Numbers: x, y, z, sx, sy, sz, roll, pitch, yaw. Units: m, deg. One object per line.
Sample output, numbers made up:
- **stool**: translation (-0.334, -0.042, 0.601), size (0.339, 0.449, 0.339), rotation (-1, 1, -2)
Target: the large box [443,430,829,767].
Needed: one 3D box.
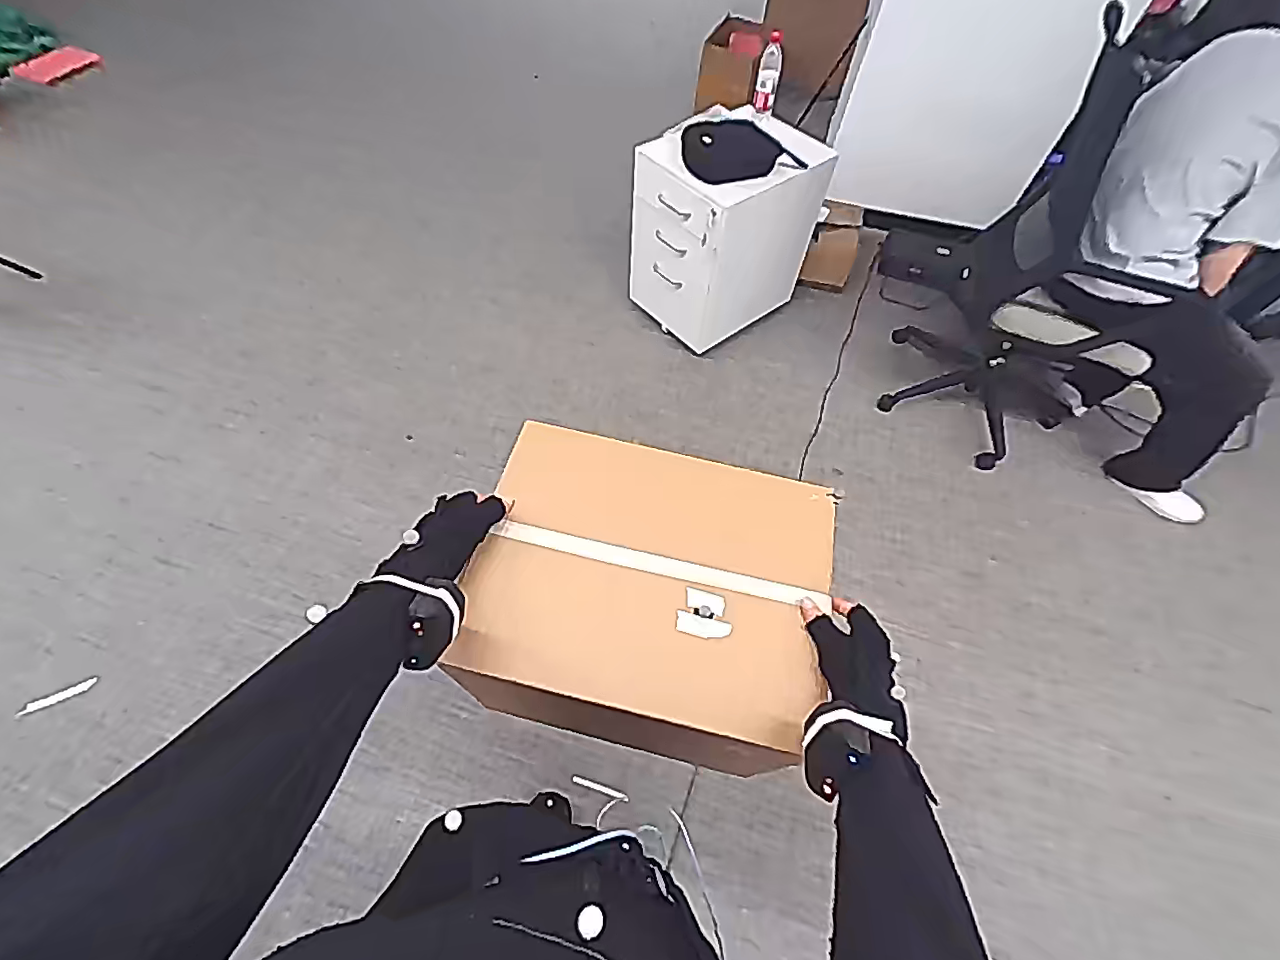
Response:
- **large box**: translation (0.005, 0.176, 0.753), size (0.408, 0.320, 0.320), rotation (13, 60, 3)
